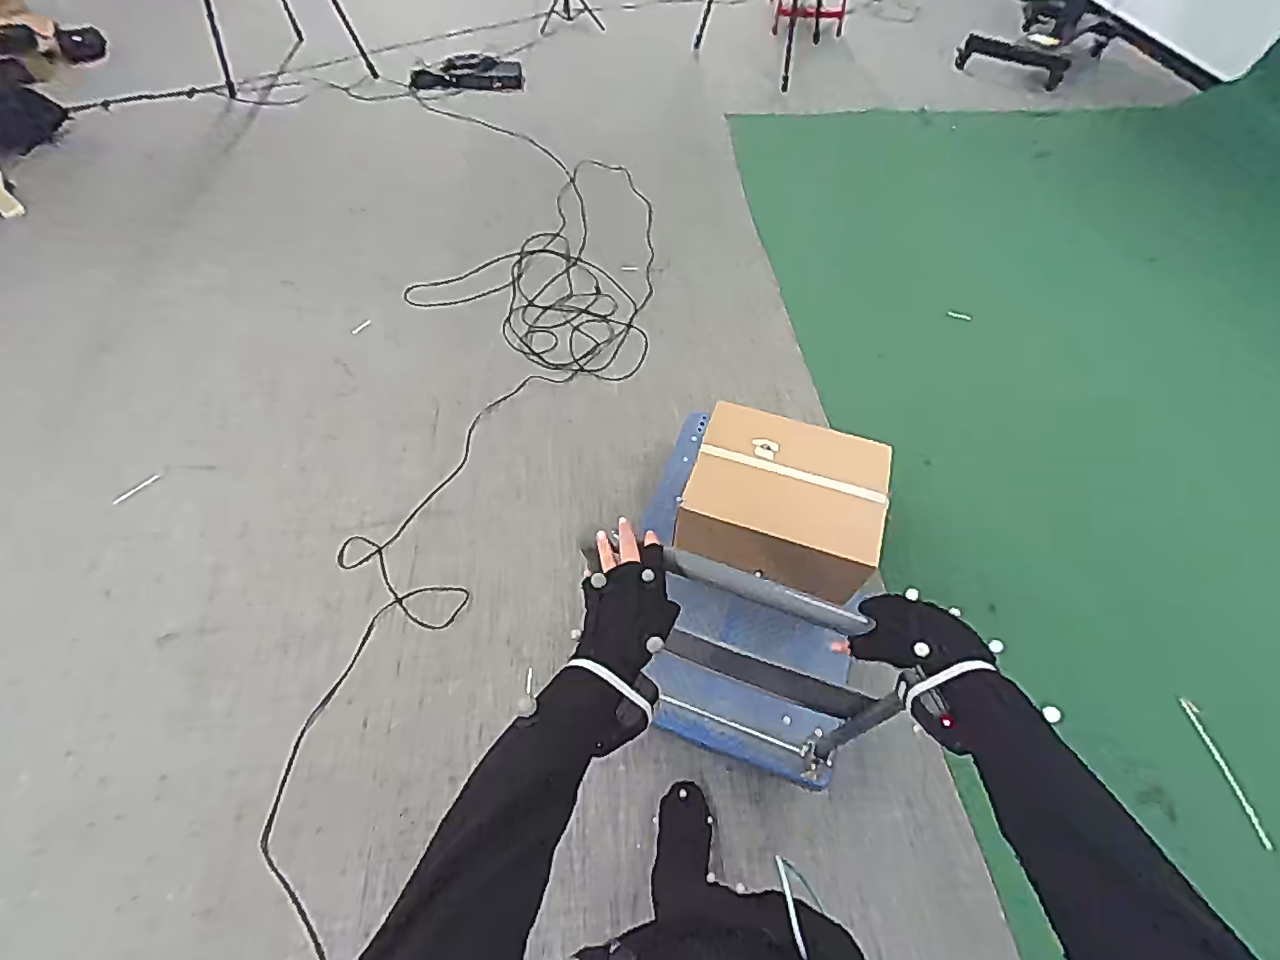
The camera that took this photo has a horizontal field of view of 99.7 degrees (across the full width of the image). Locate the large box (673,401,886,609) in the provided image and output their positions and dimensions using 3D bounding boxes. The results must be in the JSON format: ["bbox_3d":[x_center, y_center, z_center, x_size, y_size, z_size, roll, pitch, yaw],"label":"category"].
[{"bbox_3d":[0.317,0.067,1.289,0.408,0.320,0.320,17,58,11],"label":"large box"}]
